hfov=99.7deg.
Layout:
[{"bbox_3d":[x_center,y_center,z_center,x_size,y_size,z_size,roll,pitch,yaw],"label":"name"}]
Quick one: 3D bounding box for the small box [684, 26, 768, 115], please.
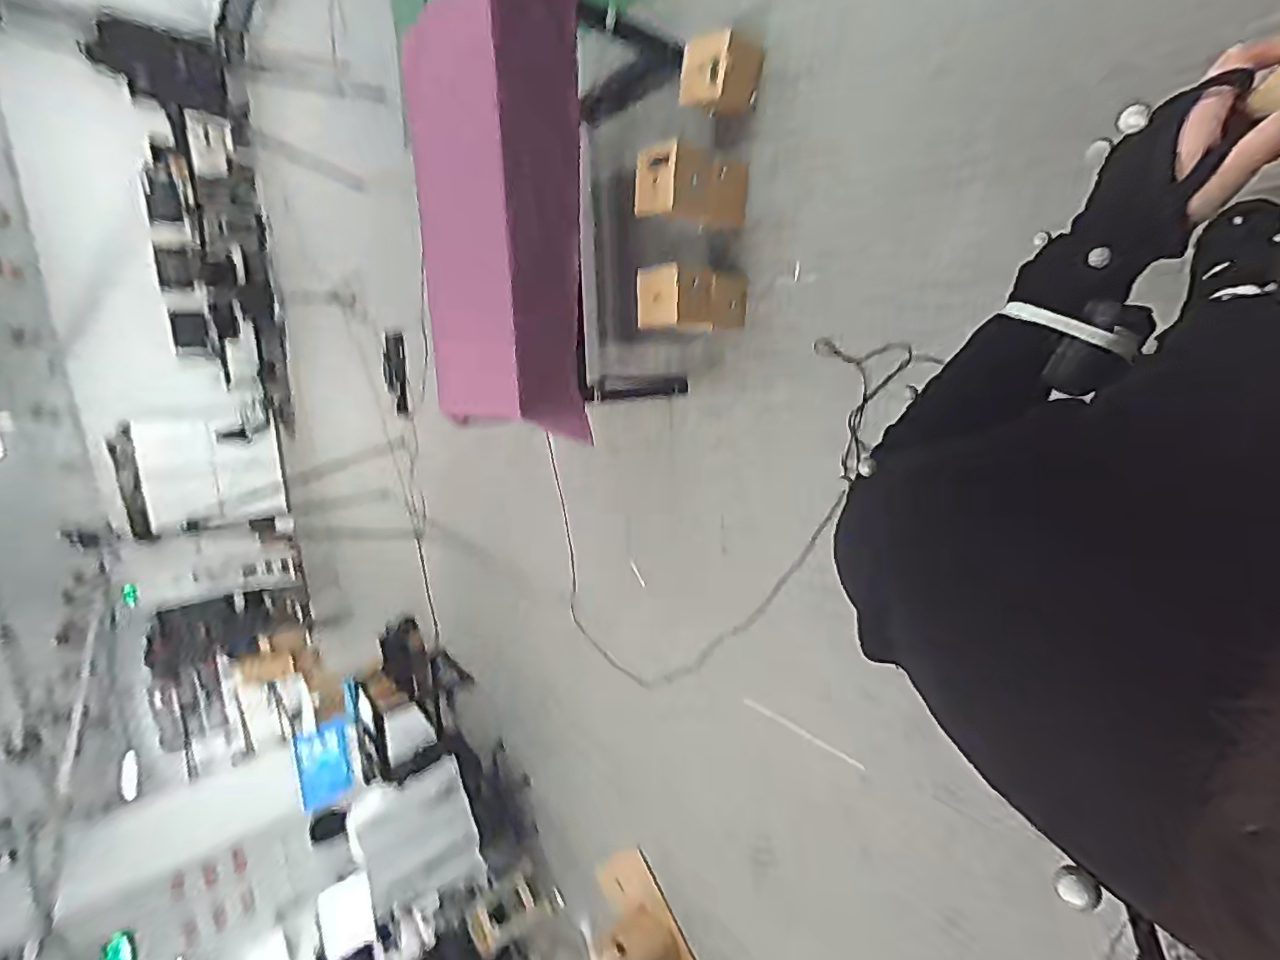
[{"bbox_3d":[0.263,-1.235,1.644,0.179,0.176,0.168,28,118,43],"label":"small box"}]
